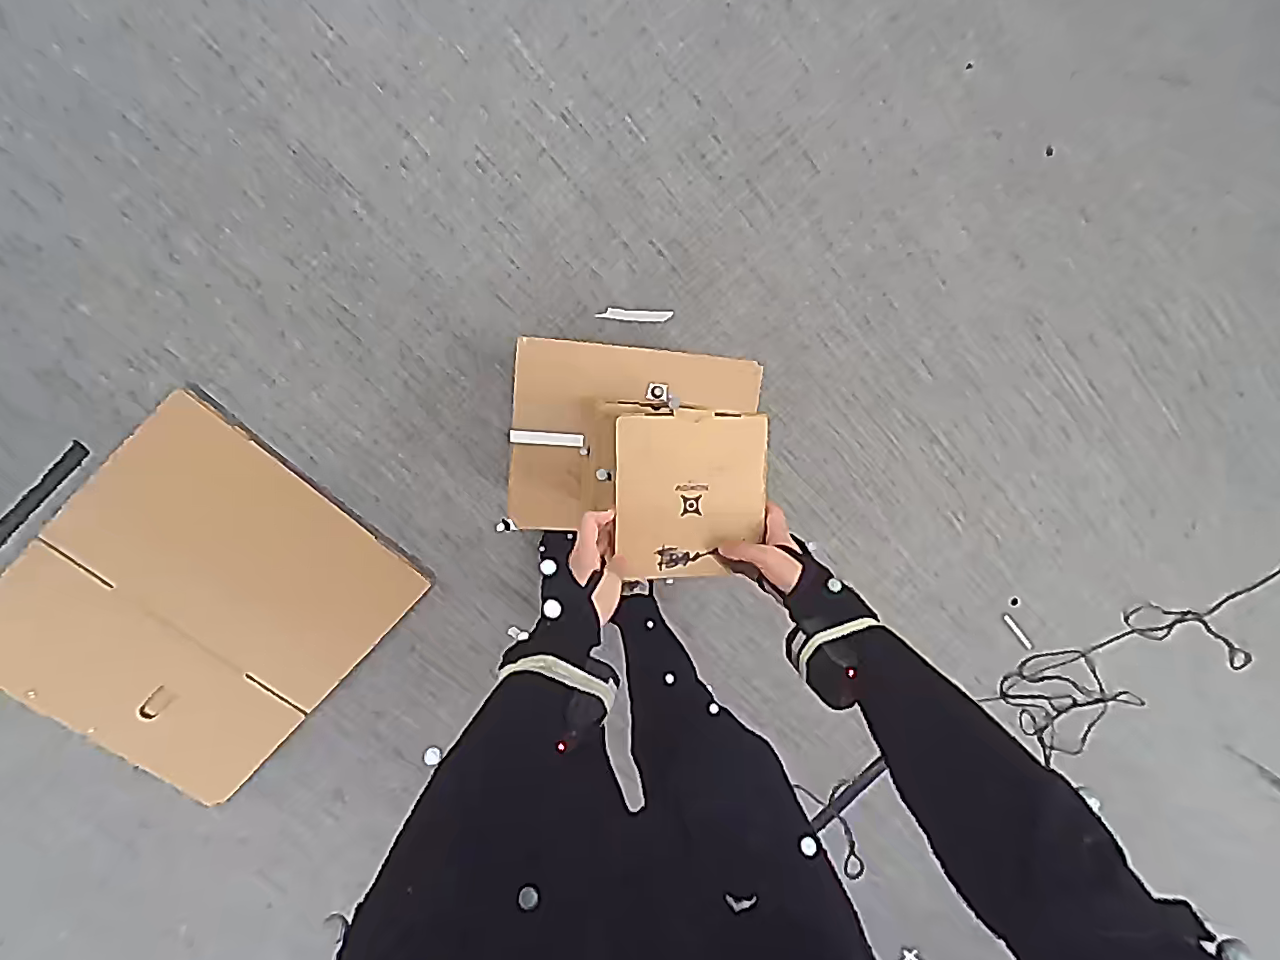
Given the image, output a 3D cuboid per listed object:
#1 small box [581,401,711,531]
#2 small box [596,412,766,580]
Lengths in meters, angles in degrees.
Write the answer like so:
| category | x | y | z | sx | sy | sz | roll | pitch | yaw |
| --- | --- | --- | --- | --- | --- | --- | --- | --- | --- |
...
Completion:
| category | x | y | z | sx | sy | sz | roll | pitch | yaw |
| --- | --- | --- | --- | --- | --- | --- | --- | --- | --- |
| small box | 0.001 | -0.026 | 0.812 | 0.168 | 0.176 | 0.179 | 3 | 100 | -10 |
| small box | 0.037 | 0.009 | 0.645 | 0.168 | 0.176 | 0.179 | -1 | 97 | -11 |
